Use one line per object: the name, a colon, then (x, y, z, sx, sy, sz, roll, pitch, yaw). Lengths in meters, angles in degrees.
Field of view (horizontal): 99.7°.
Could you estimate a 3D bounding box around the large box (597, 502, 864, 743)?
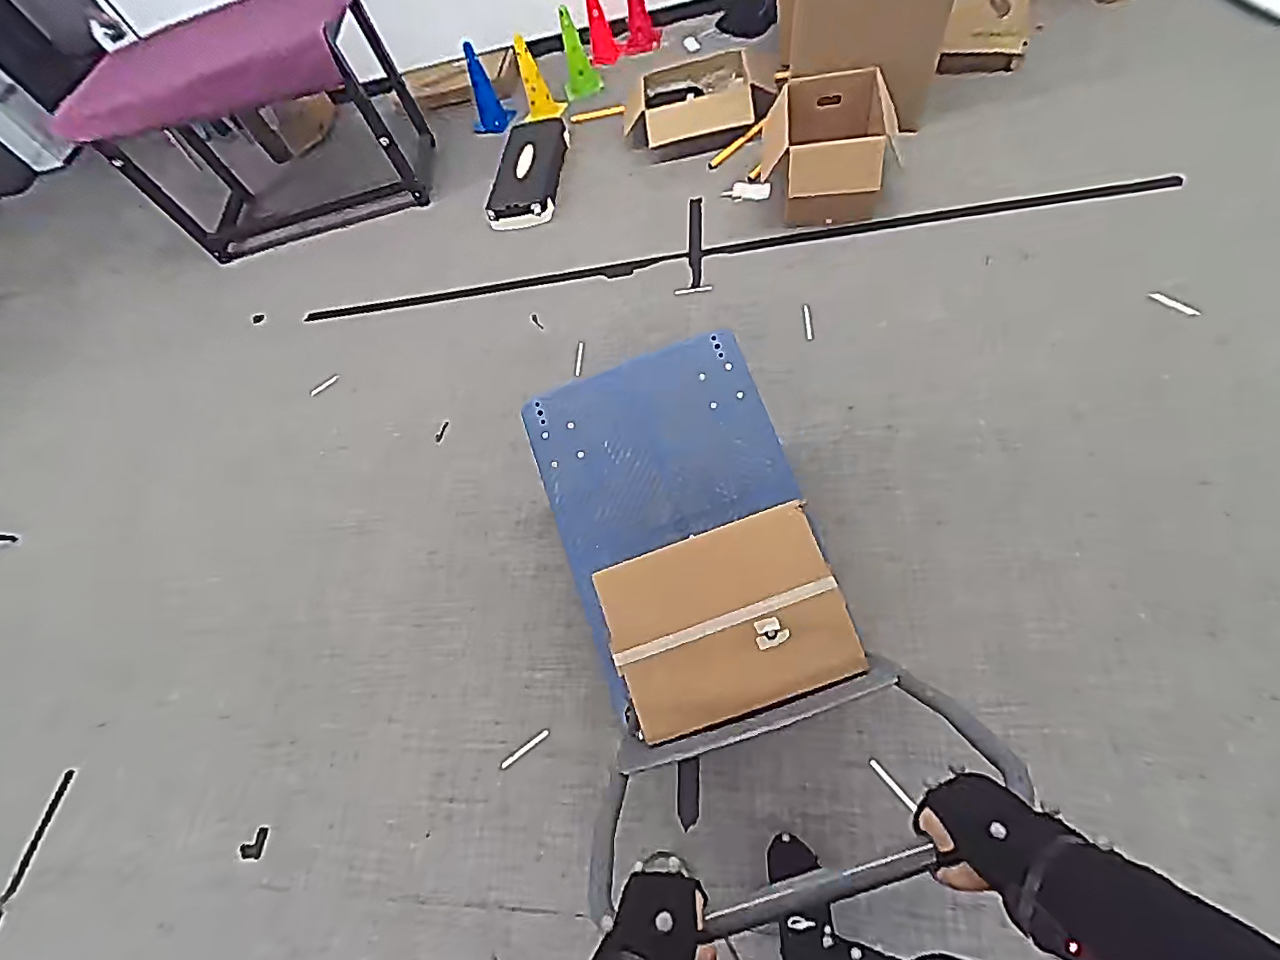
large box: (0.167, 0.279, 1.116, 0.408, 0.320, 0.320, -21, 79, 1)
